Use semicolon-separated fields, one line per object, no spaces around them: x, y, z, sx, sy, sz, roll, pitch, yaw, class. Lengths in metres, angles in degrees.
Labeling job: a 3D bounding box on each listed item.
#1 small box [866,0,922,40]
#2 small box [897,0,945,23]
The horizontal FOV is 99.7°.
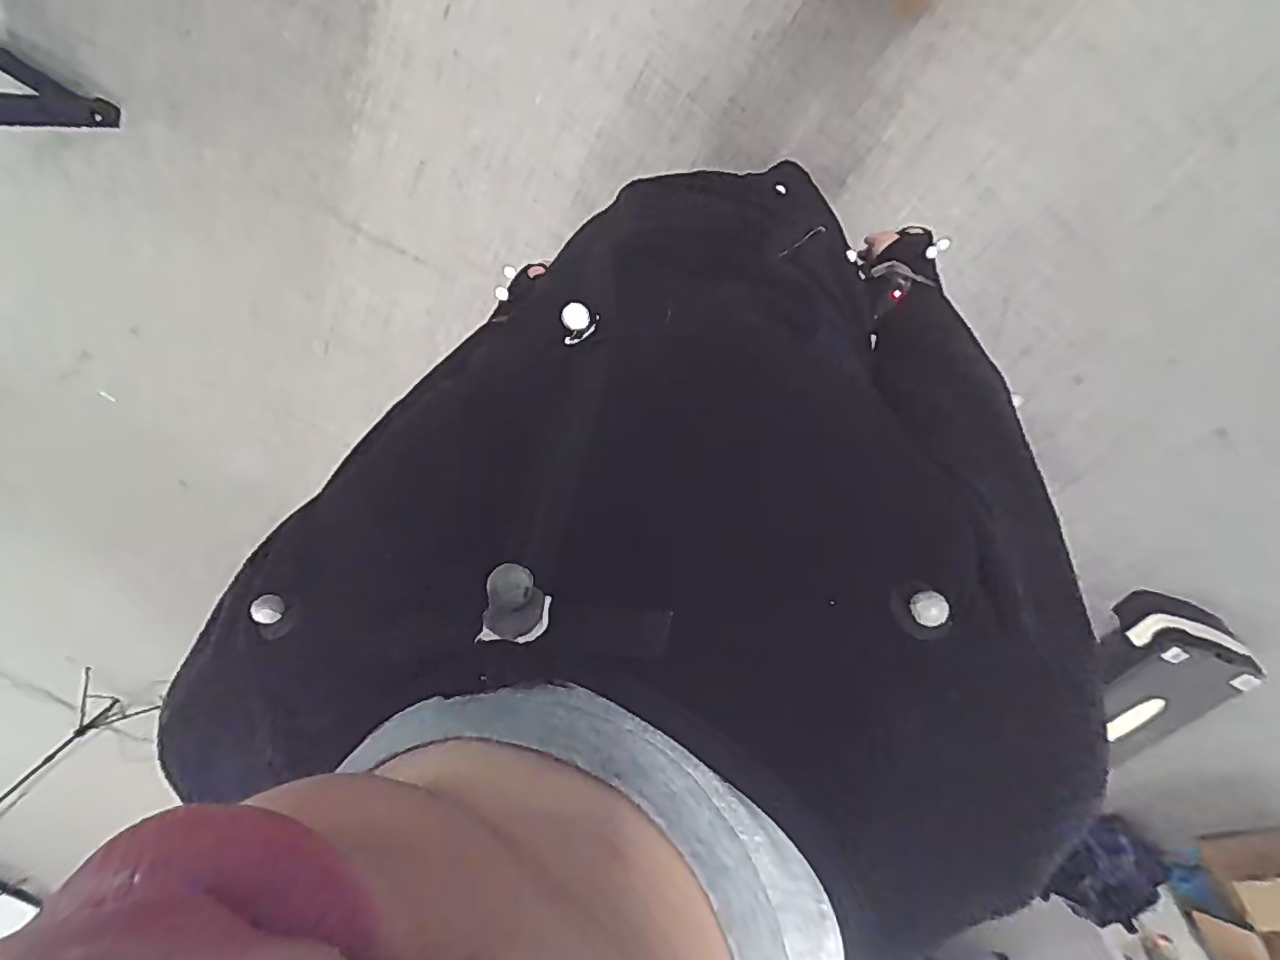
0.512;-0.955;0.978;0.168;0.176;0.179;43;121;-12;small box
0.481;-0.873;0.839;0.168;0.176;0.179;44;120;-13;small box
